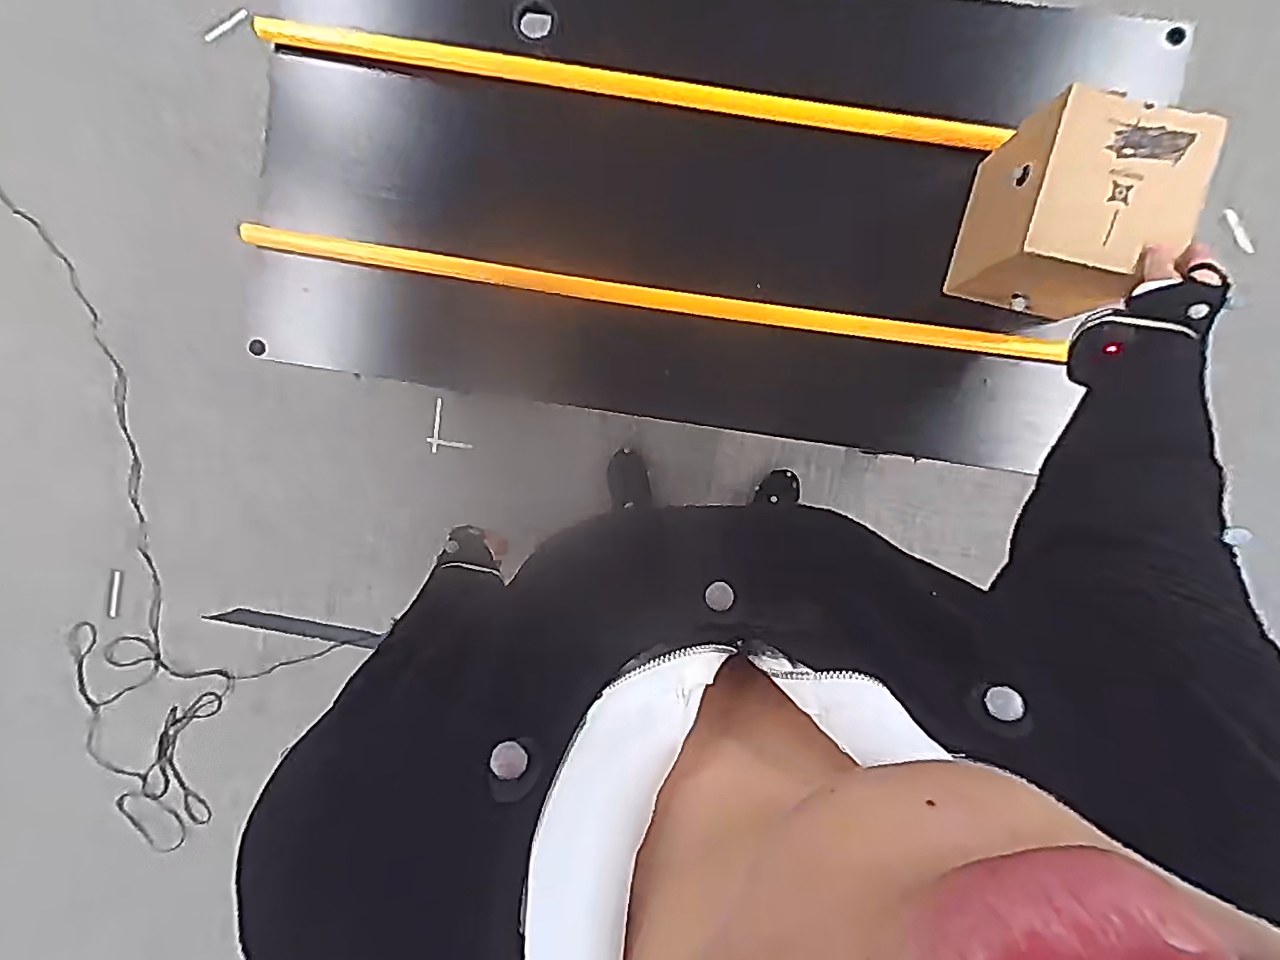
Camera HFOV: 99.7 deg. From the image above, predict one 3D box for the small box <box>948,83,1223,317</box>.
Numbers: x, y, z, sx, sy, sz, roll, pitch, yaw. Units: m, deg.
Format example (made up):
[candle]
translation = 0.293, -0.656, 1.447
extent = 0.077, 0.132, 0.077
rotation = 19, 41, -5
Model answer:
[small box]
translation = 0.505, -0.315, 0.645
extent = 0.168, 0.176, 0.179
rotation = 15, 95, 2
